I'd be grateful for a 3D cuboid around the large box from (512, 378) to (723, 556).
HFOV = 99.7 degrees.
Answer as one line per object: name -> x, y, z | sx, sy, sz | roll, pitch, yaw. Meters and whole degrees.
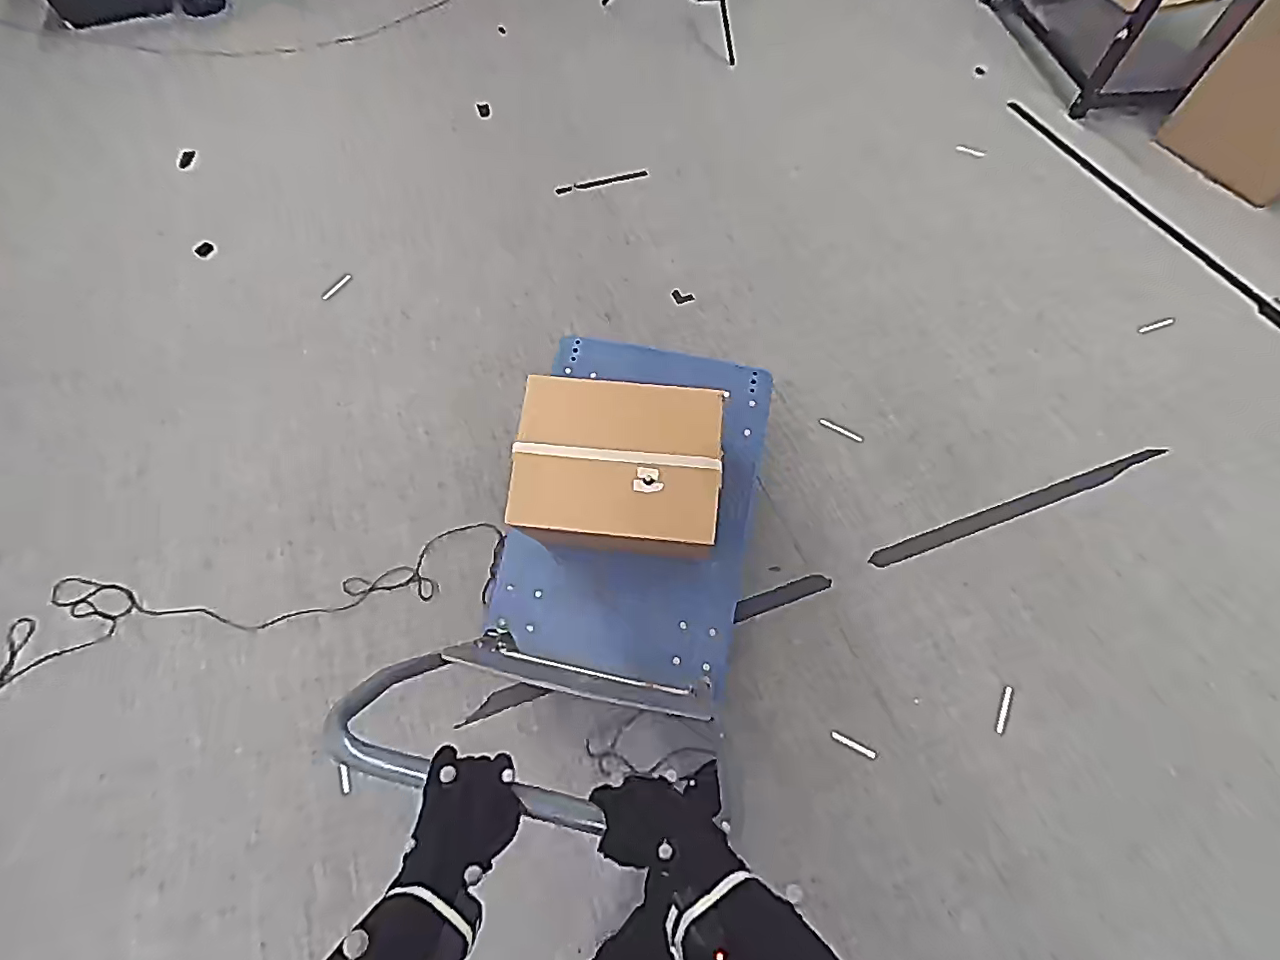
large box -> -0.038, -0.012, 1.211 | 0.408, 0.320, 0.320 | 5, 77, 3
